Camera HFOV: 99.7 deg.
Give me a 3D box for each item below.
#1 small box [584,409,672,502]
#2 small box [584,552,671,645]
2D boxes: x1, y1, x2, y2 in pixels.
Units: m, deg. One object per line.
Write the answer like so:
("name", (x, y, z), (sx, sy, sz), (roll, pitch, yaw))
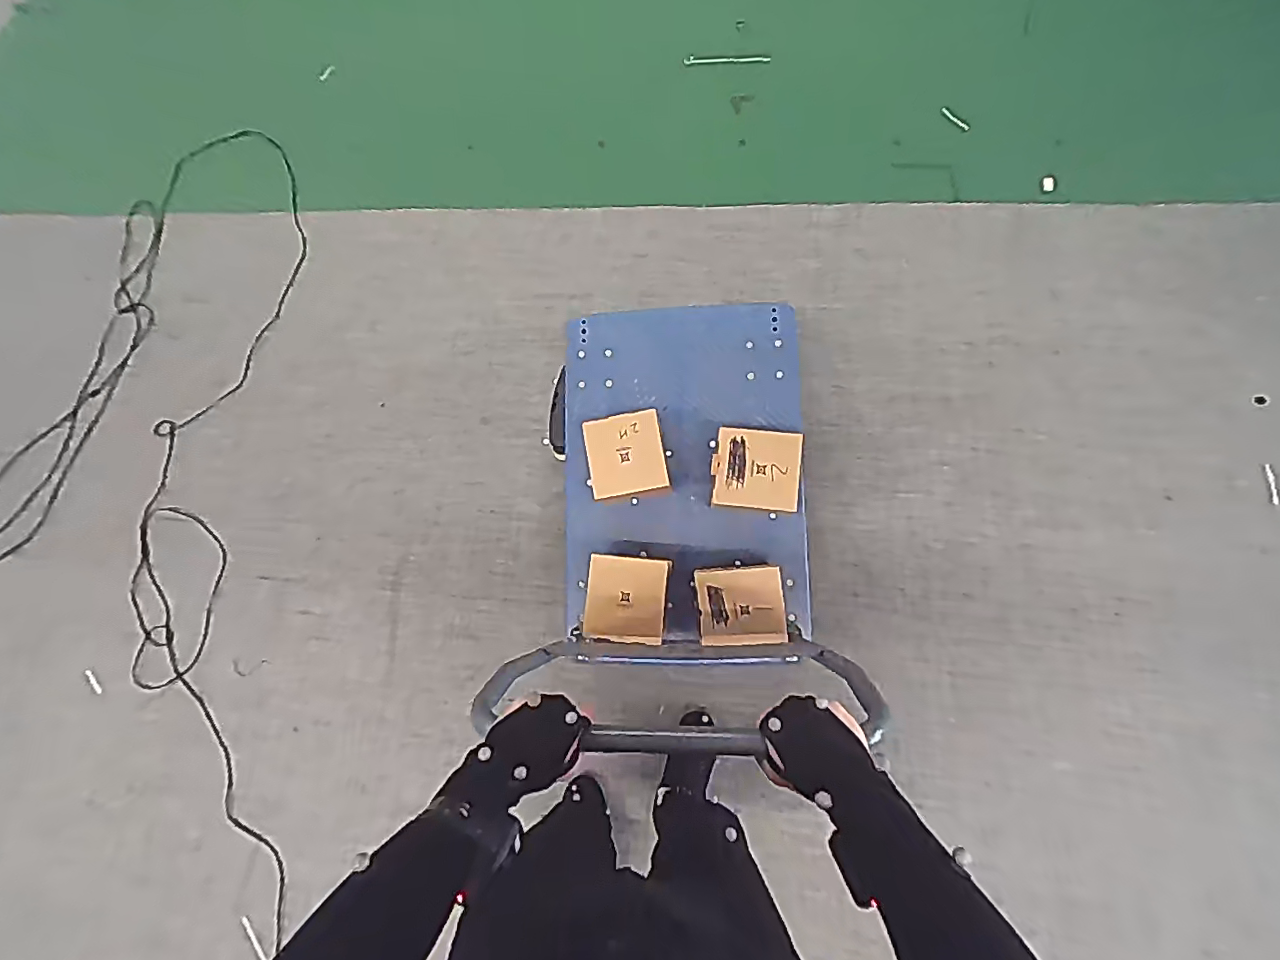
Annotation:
("small box", (-0.021, -0.047, 1.241), (0.168, 0.176, 0.179), (-10, 82, 4))
("small box", (-0.021, 0.255, 1.203), (0.168, 0.176, 0.179), (5, 84, 6))
